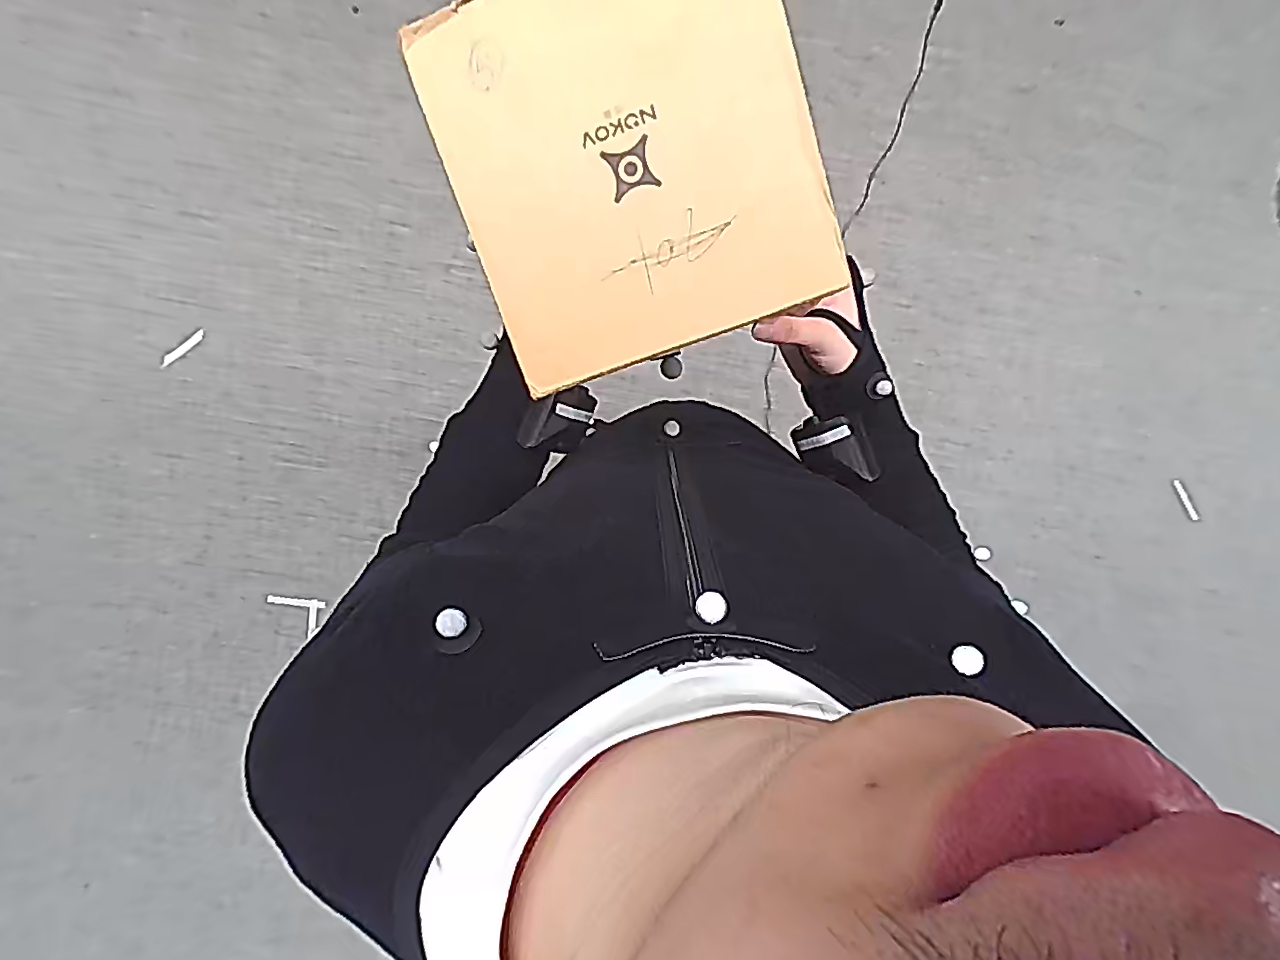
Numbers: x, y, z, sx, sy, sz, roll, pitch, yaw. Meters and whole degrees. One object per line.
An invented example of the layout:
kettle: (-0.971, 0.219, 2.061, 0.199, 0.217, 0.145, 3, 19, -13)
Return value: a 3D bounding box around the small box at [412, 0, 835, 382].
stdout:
small box: (-0.001, -0.171, 0.338, 0.168, 0.176, 0.179, -18, 102, 8)
